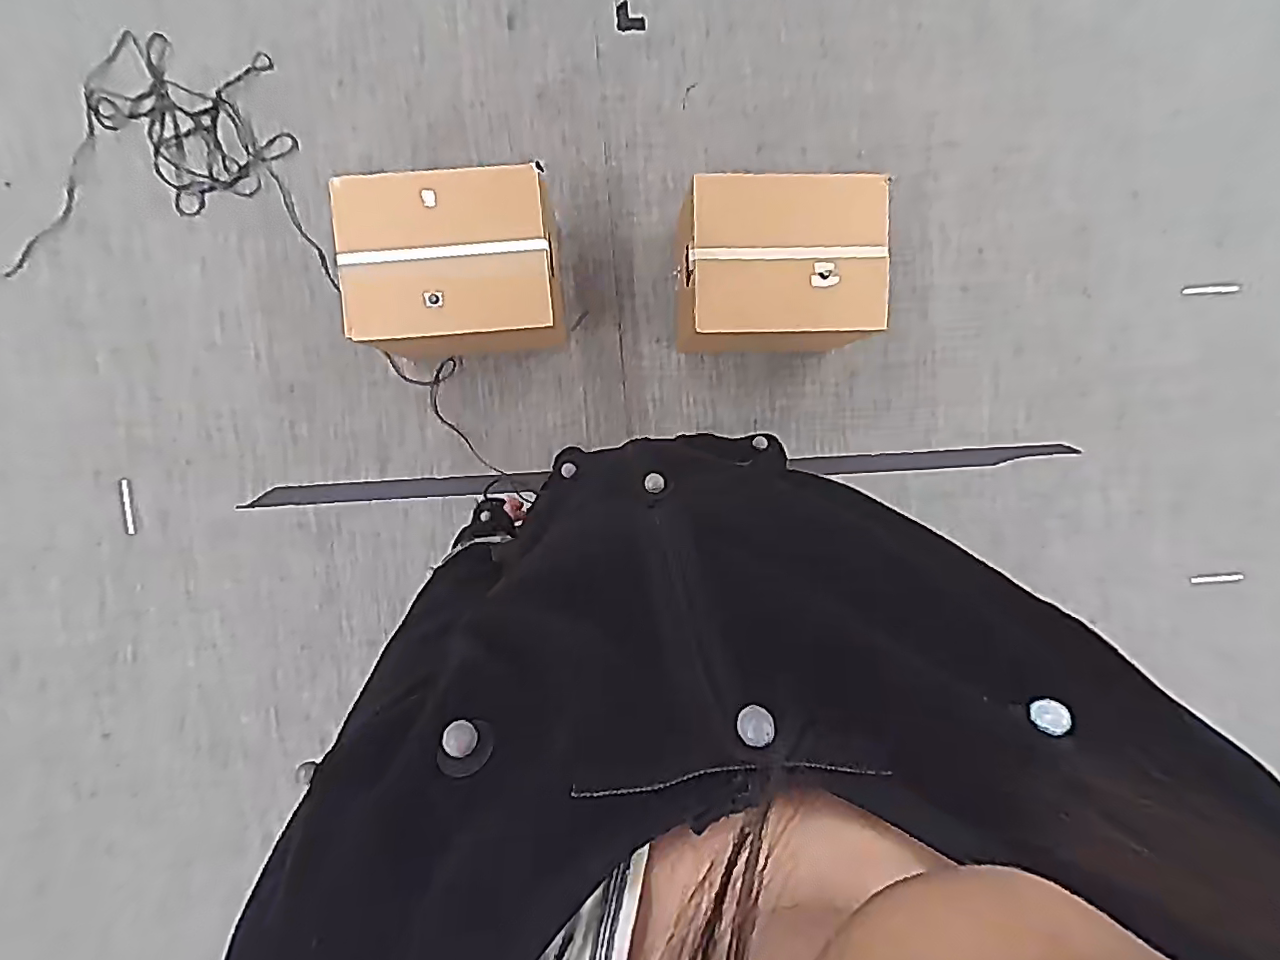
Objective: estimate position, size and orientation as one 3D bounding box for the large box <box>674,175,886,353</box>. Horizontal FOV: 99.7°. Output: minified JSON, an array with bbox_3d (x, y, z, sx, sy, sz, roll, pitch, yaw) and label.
[{"bbox_3d":[0.299,-0.477,1.256,0.408,0.320,0.320,-1,95,-4],"label":"large box"}]
